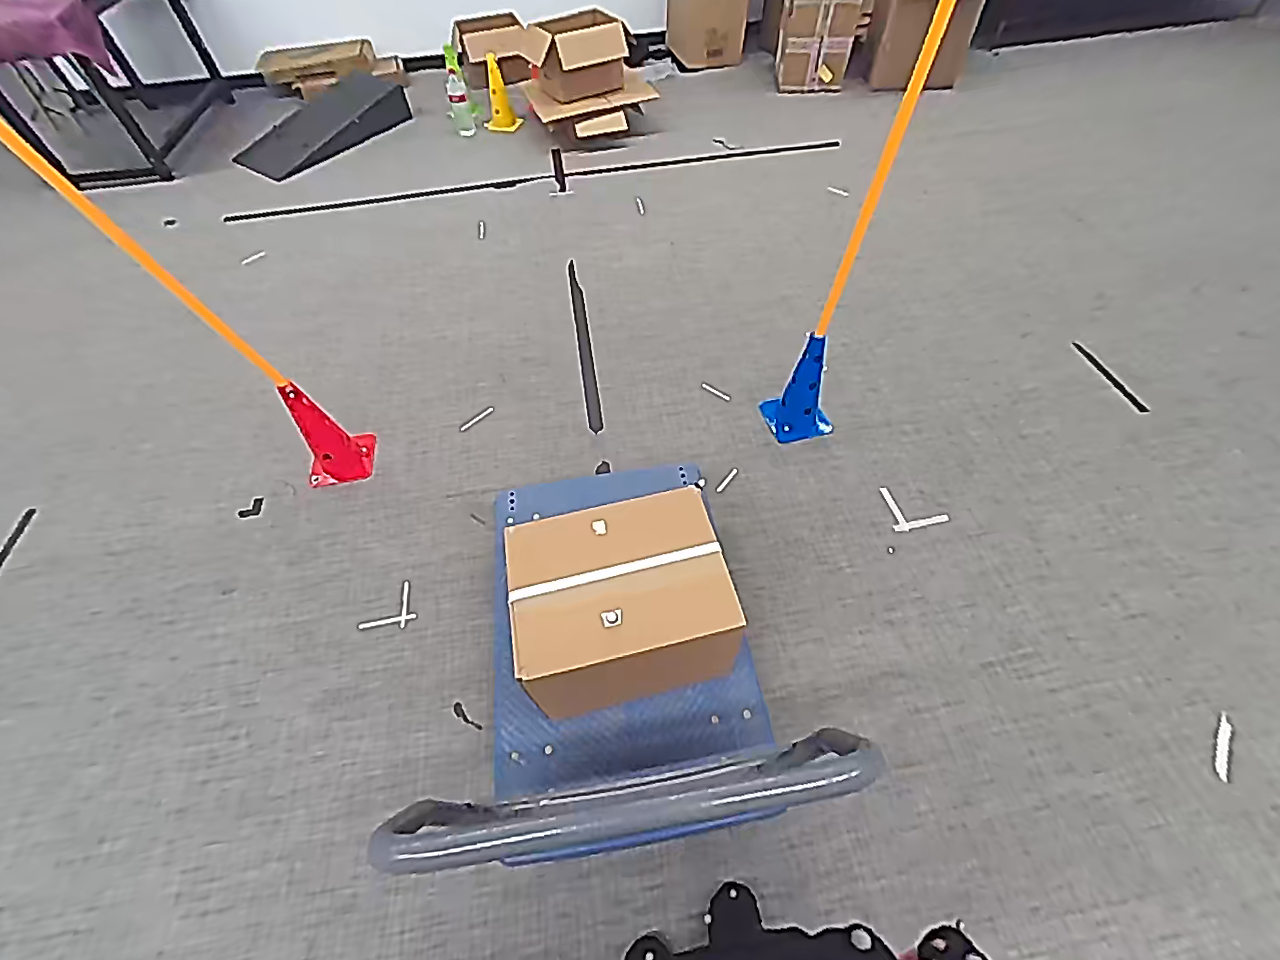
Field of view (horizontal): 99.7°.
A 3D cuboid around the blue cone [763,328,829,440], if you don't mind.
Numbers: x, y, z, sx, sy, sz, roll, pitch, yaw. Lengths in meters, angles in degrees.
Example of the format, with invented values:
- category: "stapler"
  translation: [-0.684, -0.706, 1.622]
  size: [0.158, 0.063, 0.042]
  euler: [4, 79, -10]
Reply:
- category: "blue cone"
  translation: [0.533, -0.317, 1.736]
  size: [0.193, 0.380, 0.192]
  euler: [-12, 53, -7]
